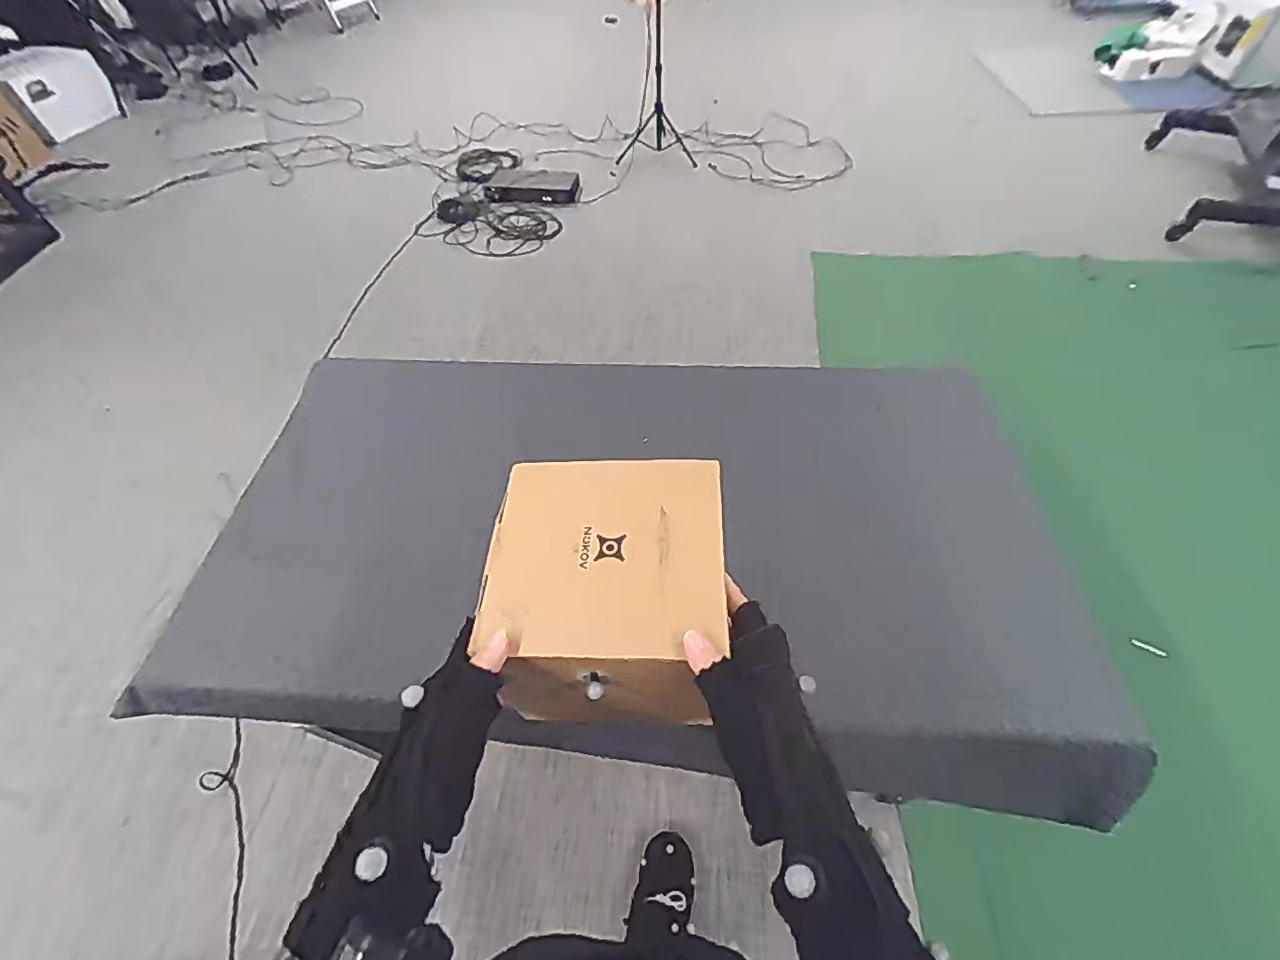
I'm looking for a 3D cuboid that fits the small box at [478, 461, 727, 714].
[{"bbox_3d":[-0.018,0.100,0.478,0.179,0.176,0.168,-1,53,4],"label":"small box"}]
